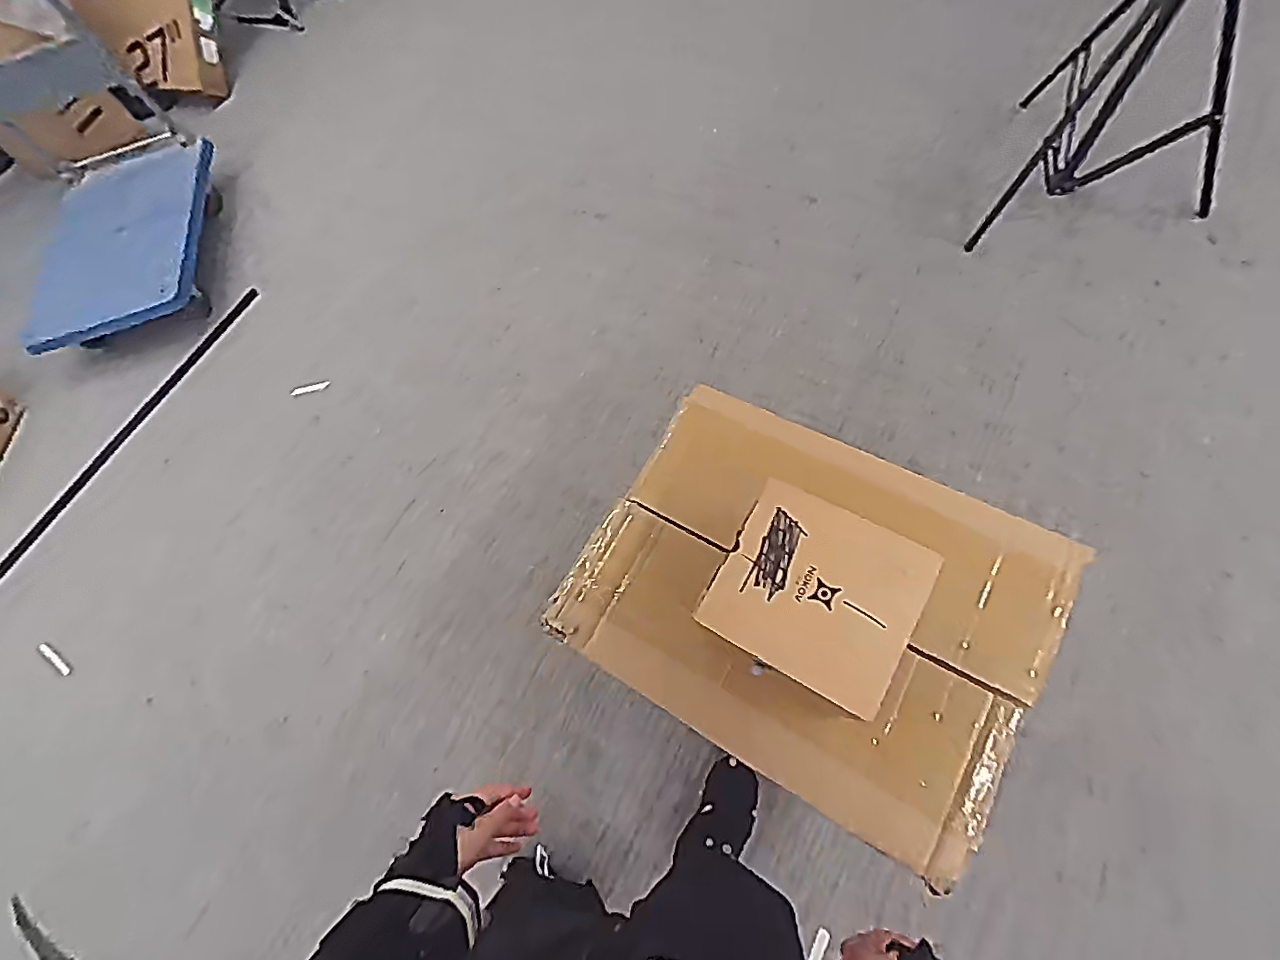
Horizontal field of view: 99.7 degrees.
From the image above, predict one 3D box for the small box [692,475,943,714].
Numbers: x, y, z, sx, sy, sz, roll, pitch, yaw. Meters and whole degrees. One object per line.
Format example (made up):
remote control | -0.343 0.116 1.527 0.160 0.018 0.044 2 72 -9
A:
small box | 0.175 0.126 0.572 0.179 0.176 0.168 27 76 19
